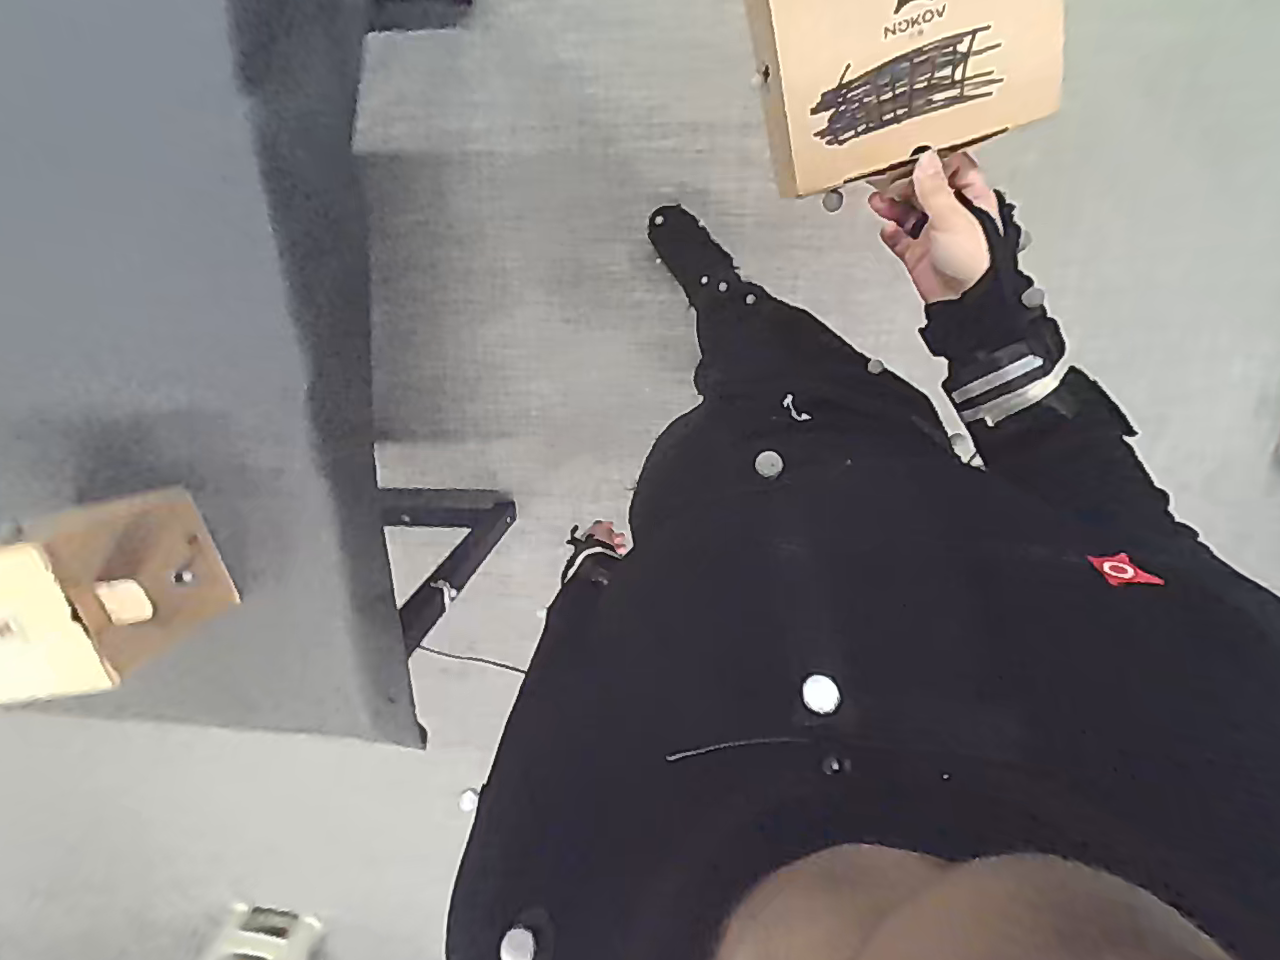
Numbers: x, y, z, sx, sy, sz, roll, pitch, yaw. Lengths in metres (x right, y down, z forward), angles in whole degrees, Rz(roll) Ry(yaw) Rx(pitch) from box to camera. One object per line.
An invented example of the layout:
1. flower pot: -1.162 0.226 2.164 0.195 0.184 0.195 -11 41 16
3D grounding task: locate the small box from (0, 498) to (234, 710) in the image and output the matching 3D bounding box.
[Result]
1. small box: -0.627 0.133 0.616 0.179 0.176 0.168 -10 106 8
